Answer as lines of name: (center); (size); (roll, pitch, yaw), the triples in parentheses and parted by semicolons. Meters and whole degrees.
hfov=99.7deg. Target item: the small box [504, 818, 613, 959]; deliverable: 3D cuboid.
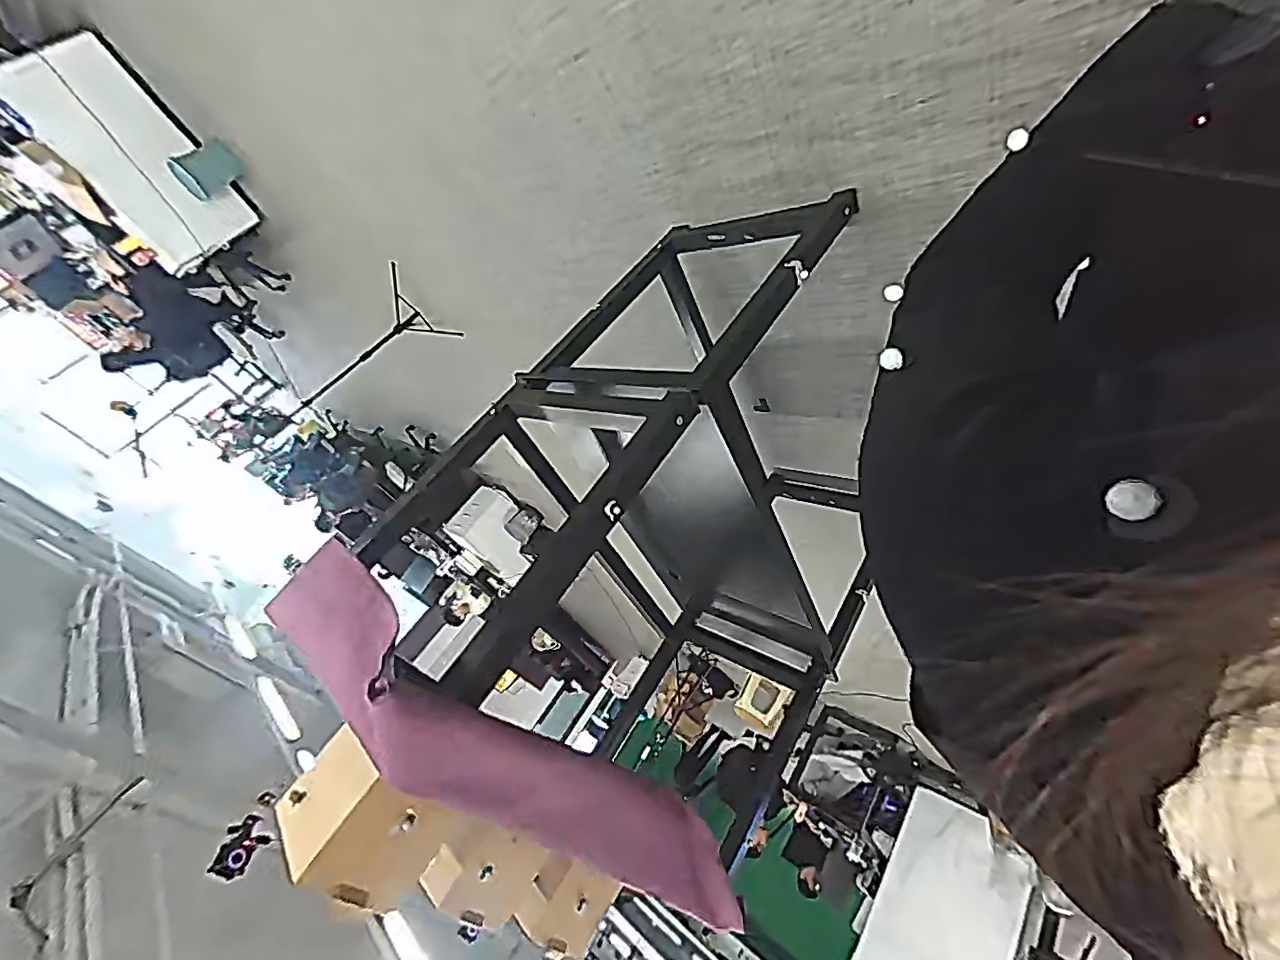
small box: (-0.180, 0.848, 1.121); (0.179, 0.176, 0.168); (3, 139, 51)

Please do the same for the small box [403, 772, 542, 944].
small box: (-0.301, 0.664, 0.965); (0.179, 0.176, 0.168); (10, 144, 46)

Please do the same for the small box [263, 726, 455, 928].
small box: (-0.405, 0.492, 0.793); (0.179, 0.176, 0.168); (8, 143, 49)
